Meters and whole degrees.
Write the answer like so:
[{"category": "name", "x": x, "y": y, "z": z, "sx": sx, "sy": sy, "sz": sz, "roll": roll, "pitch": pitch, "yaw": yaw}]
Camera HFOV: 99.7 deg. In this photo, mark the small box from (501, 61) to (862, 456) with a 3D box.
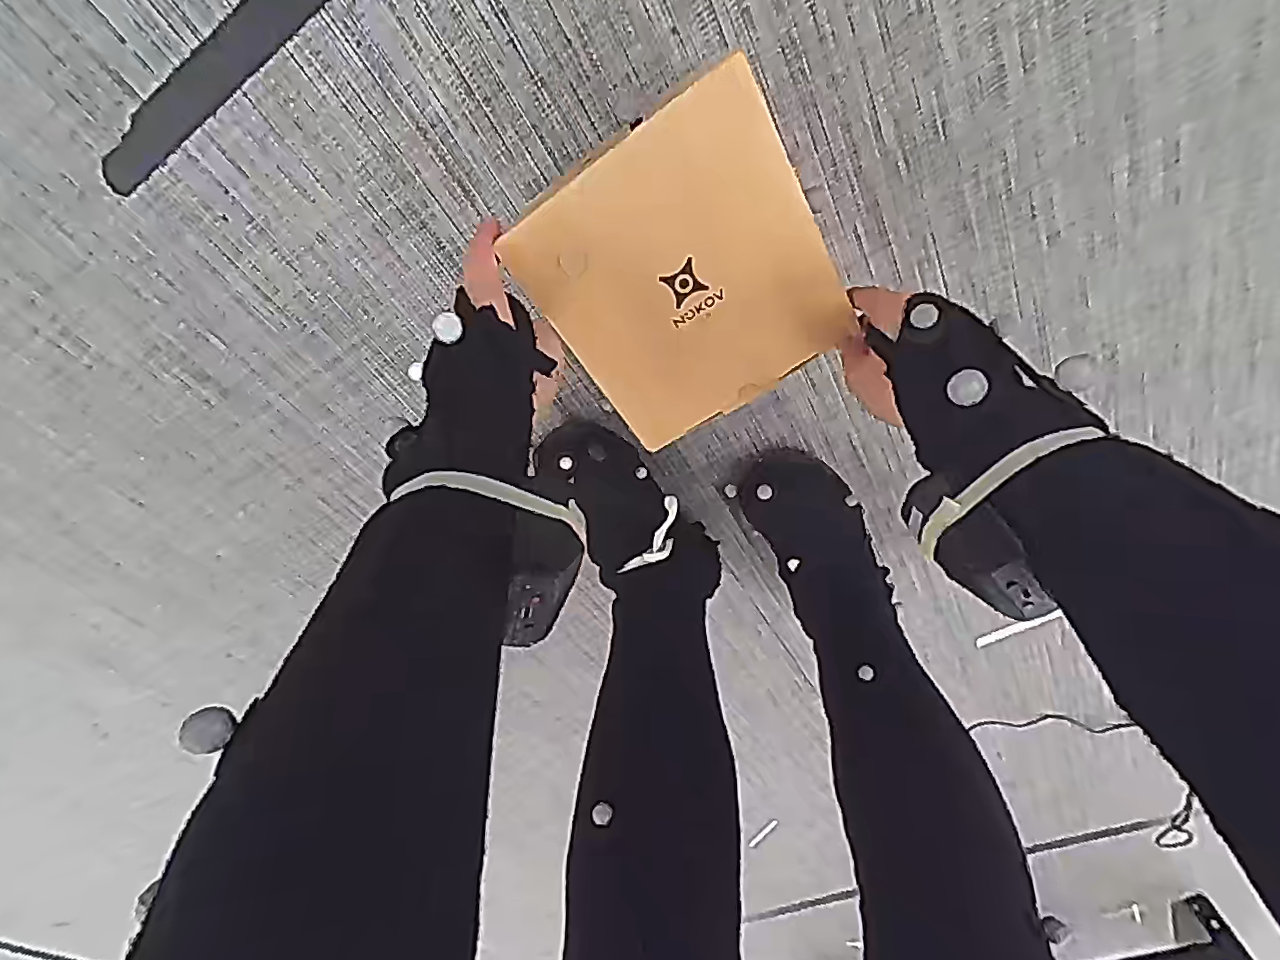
[{"category": "small box", "x": 0.027, "y": -0.157, "z": 0.396, "sx": 0.168, "sy": 0.176, "sz": 0.179, "roll": -30, "pitch": 122, "yaw": 16}]
